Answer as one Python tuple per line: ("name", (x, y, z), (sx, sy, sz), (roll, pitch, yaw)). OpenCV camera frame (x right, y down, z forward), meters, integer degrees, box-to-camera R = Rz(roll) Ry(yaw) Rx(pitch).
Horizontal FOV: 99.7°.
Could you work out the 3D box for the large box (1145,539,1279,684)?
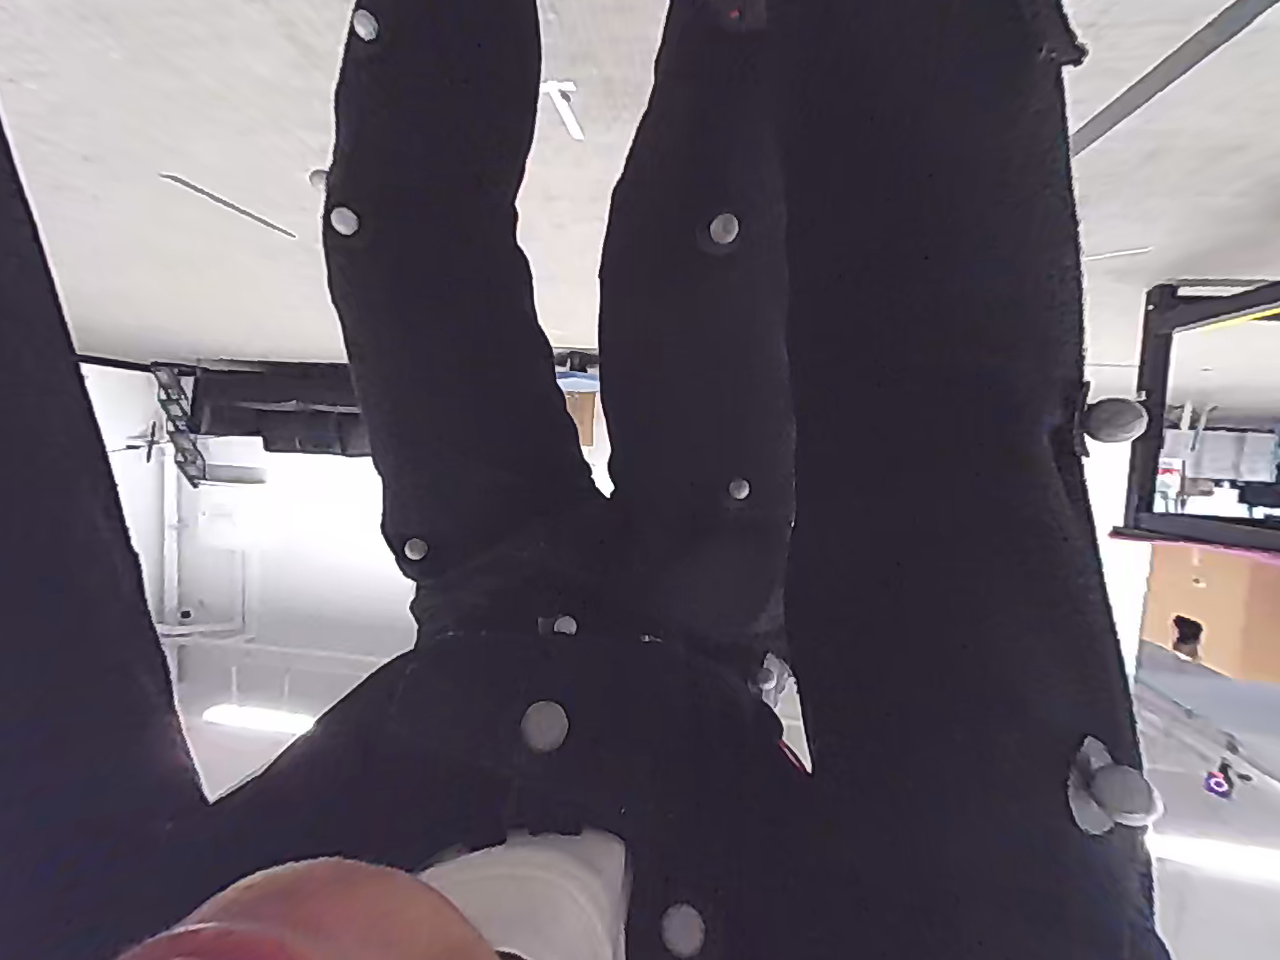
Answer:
("large box", (1.673, 0.339, 1.422), (0.408, 0.320, 0.320), (2, -176, 8))
